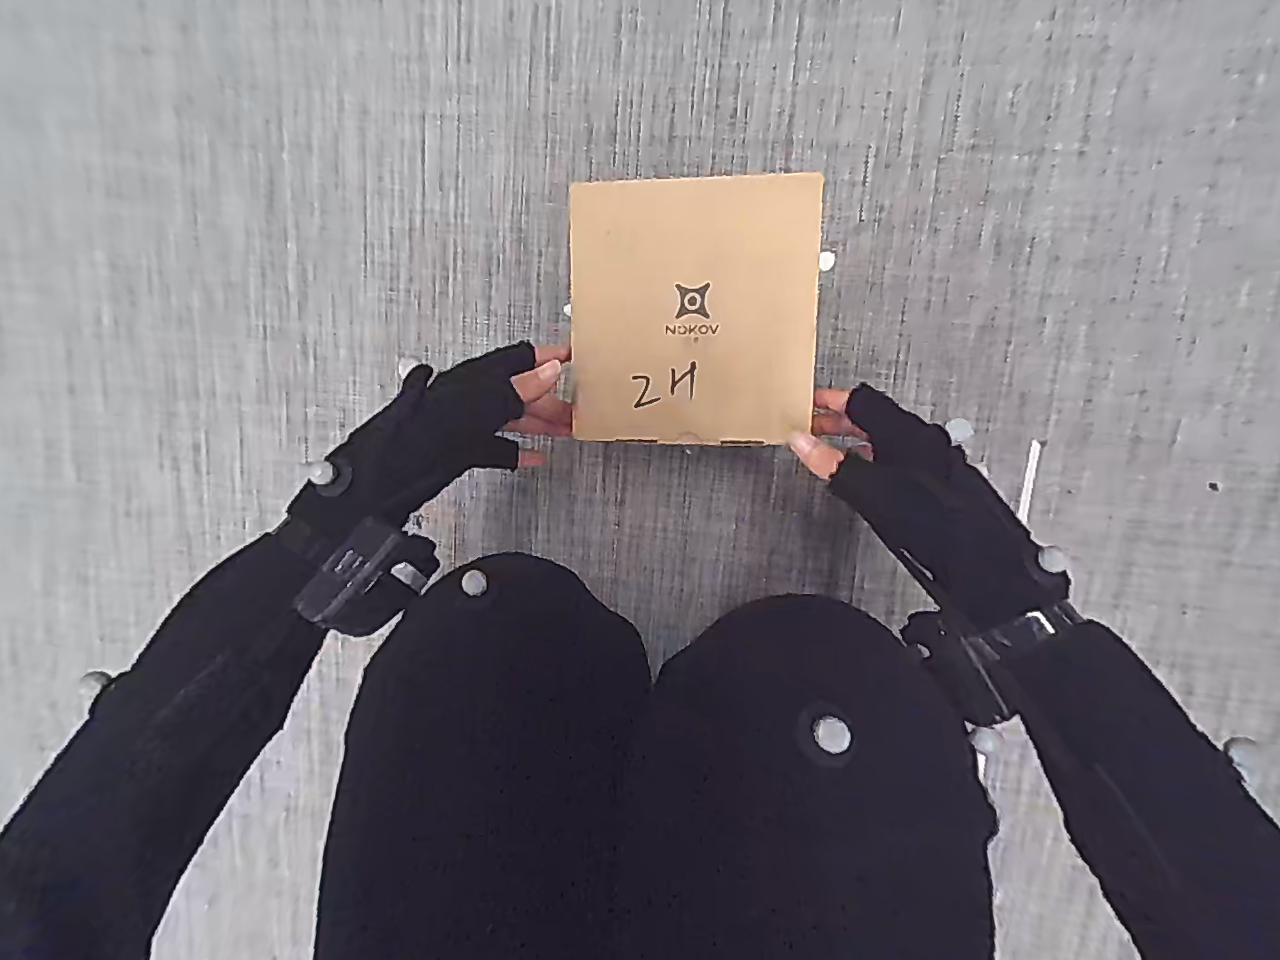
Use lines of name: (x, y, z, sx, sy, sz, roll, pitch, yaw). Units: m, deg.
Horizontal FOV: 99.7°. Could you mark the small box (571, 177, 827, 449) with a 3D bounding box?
small box: (0.045, -0.119, 0.440, 0.168, 0.176, 0.179, 3, 97, 7)
